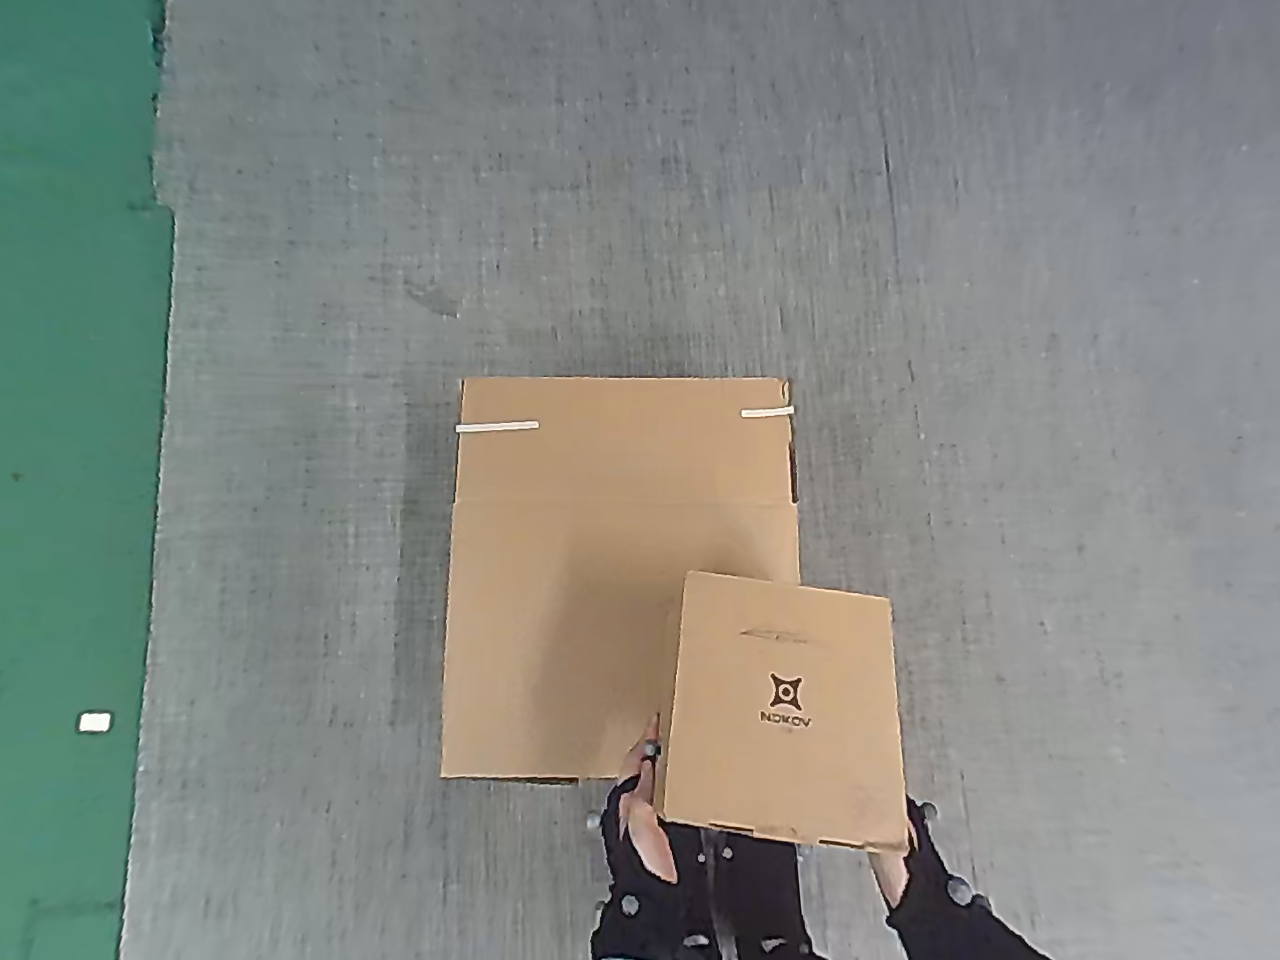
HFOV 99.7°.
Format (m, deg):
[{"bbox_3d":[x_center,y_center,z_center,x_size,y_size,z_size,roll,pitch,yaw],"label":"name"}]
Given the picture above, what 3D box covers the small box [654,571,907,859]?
[{"bbox_3d":[0.104,0.195,0.463,0.168,0.176,0.179,8,63,2],"label":"small box"}]
